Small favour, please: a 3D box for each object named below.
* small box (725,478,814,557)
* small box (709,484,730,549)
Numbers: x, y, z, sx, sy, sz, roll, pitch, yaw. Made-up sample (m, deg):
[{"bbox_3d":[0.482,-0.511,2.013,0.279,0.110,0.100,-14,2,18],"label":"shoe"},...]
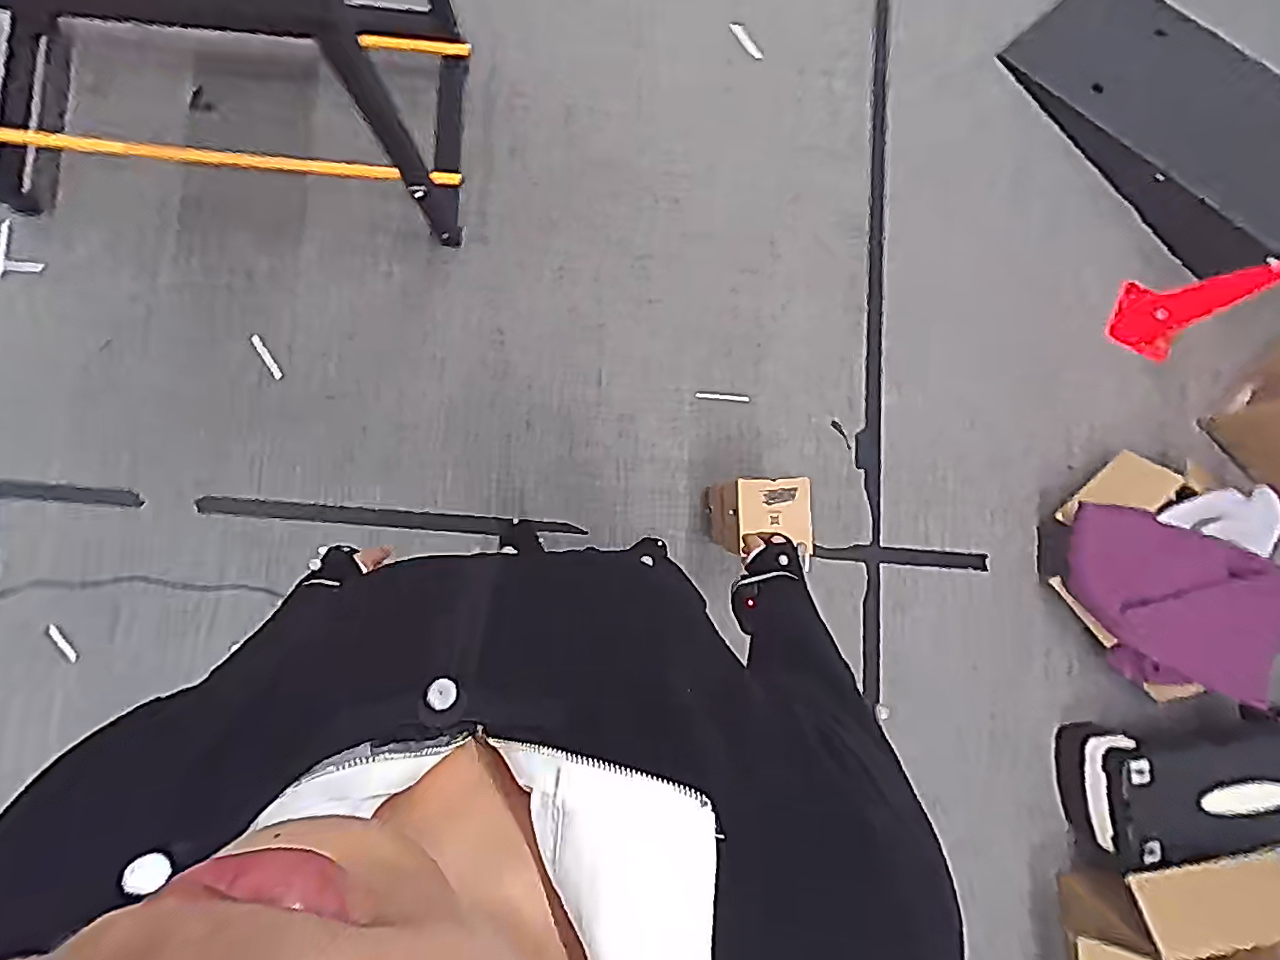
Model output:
[{"bbox_3d":[0.301,0.090,1.285,0.168,0.176,0.179,-1,86,-3],"label":"small box"},{"bbox_3d":[0.290,0.095,1.450,0.179,0.176,0.168,-3,86,-2],"label":"small box"}]
